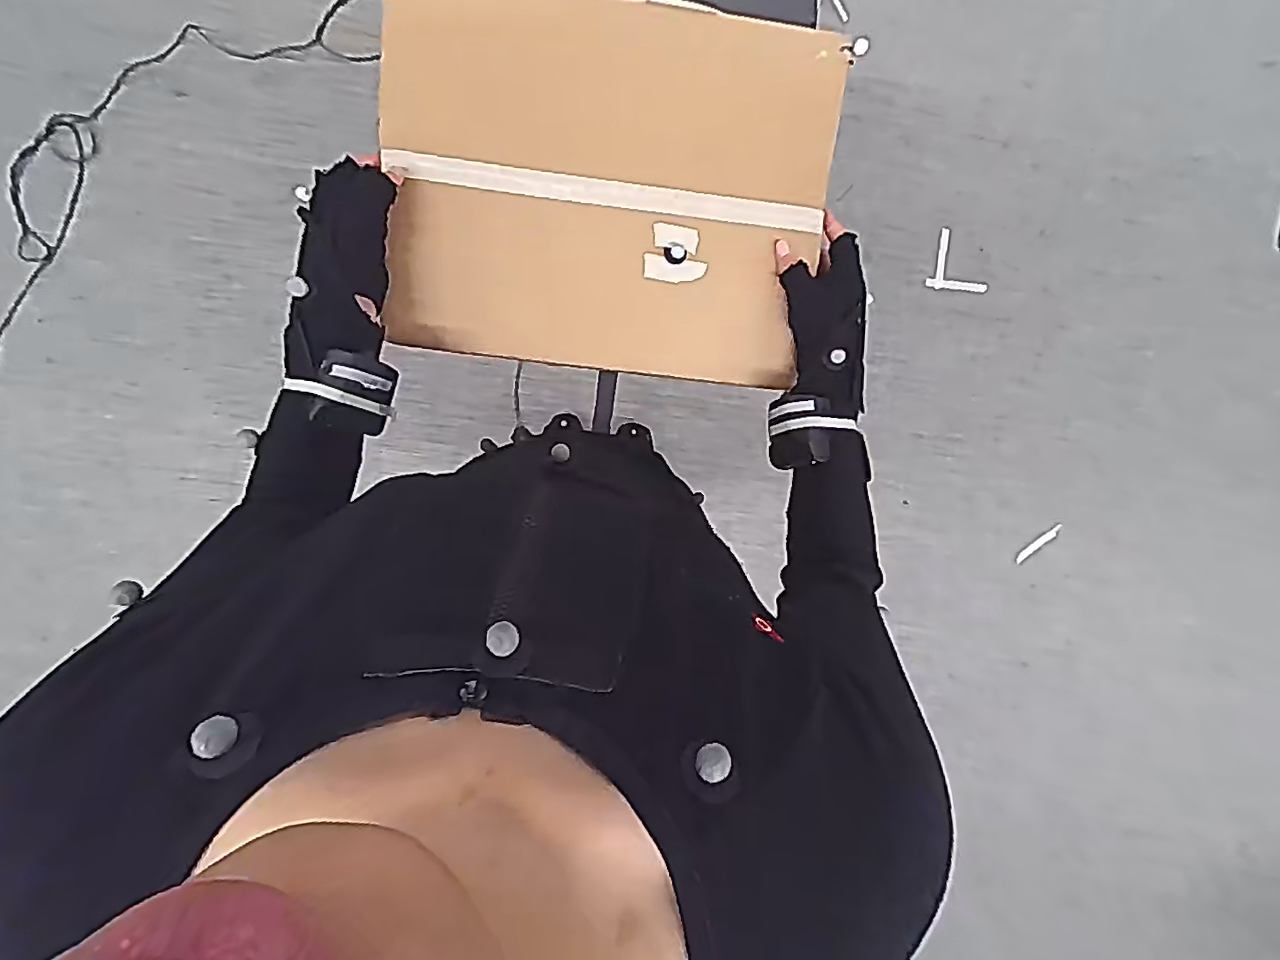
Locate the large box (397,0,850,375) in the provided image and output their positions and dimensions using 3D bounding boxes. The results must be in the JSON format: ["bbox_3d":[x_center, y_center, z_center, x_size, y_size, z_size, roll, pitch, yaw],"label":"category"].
[{"bbox_3d":[-0.032,-0.301,0.645,0.408,0.320,0.320,5,103,-5],"label":"large box"}]
